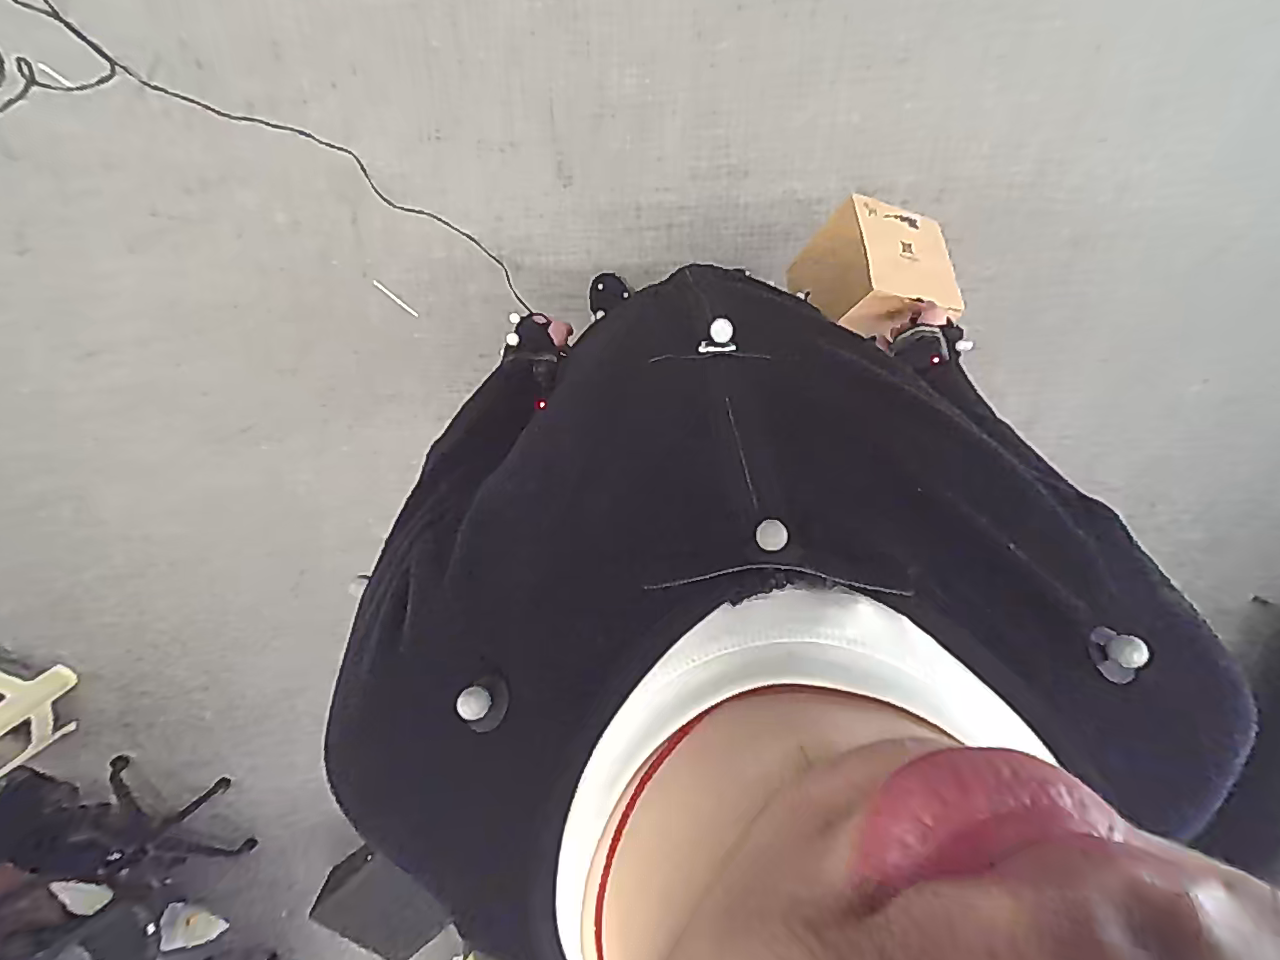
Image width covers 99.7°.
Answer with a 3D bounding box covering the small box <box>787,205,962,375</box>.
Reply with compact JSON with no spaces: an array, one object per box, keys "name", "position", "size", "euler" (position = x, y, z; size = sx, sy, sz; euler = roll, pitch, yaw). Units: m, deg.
[{"name":"small box","position":[0.354,-0.286,0.848],"size":[0.168,0.179,0.176],"euler":[4,157,-18]}]
